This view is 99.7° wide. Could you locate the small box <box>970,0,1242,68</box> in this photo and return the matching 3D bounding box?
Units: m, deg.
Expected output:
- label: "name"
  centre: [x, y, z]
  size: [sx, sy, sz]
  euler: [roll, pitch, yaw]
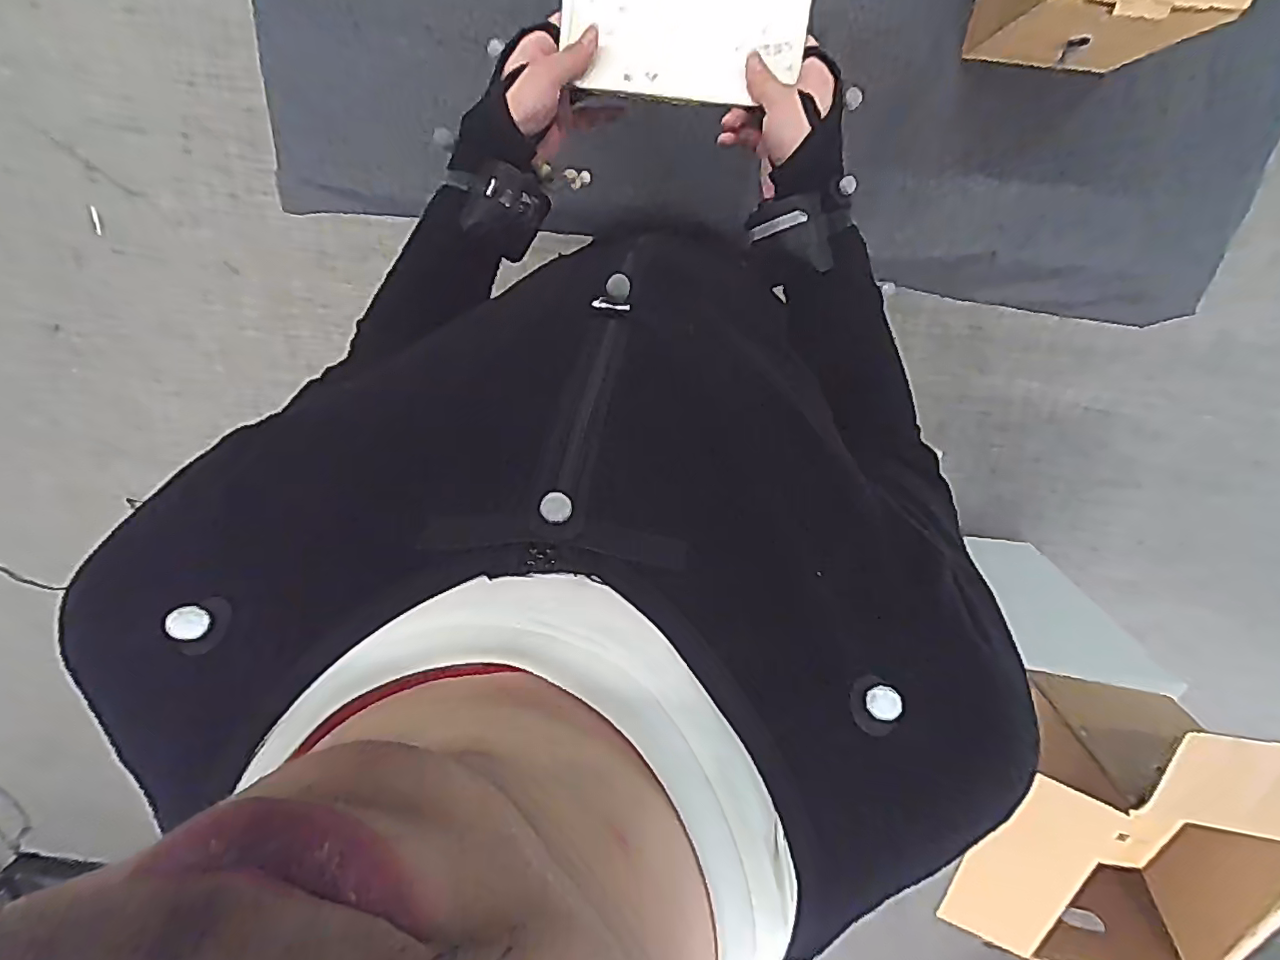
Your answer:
- label: "small box"
  centre: [0.444, -0.512, 0.503]
  size: [0.168, 0.176, 0.179]
  euler: [7, 116, 2]
